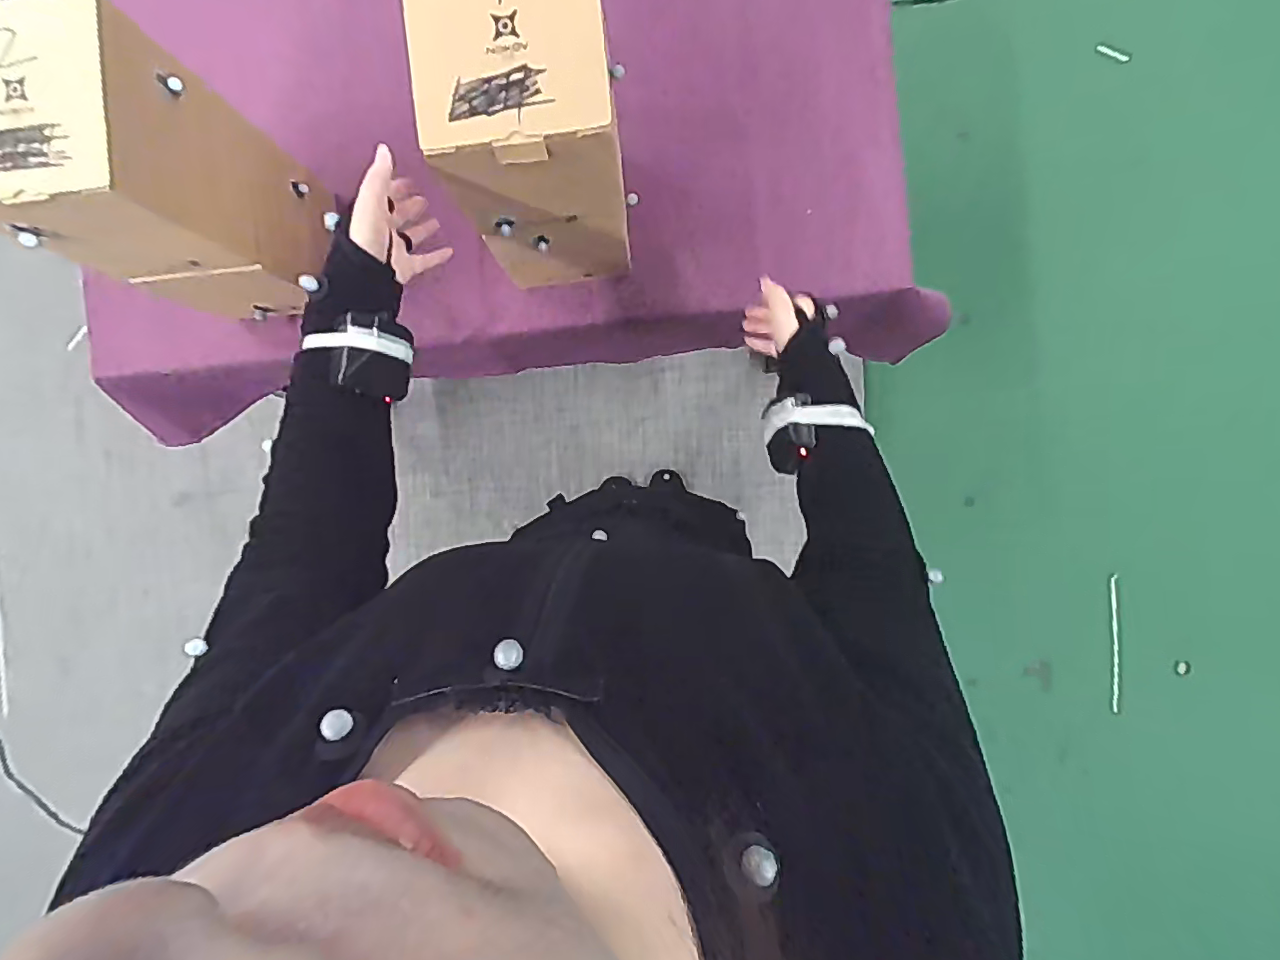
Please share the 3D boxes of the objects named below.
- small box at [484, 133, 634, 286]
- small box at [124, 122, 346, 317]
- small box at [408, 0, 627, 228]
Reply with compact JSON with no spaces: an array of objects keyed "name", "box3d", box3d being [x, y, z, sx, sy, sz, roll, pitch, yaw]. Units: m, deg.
[{"name":"small box","box3d":[-0.100,-0.372,0.697,0.168,0.176,0.179,-5,91,4]},{"name":"small box","box3d":[-0.518,-0.330,0.716,0.168,0.176,0.179,-4,92,3]},{"name":"small box","box3d":[-0.106,-0.369,0.532,0.168,0.176,0.179,-6,91,2]}]
